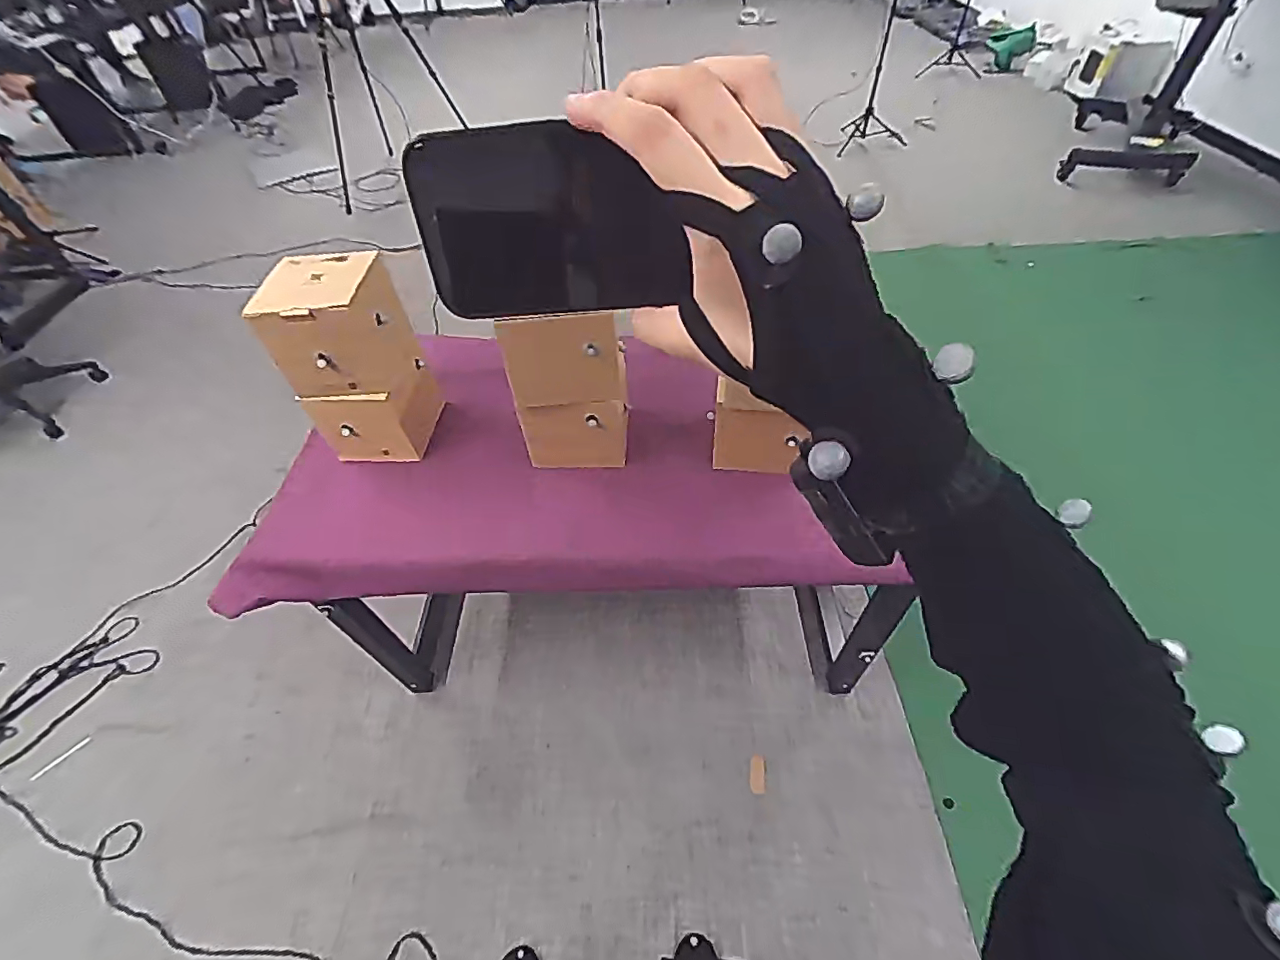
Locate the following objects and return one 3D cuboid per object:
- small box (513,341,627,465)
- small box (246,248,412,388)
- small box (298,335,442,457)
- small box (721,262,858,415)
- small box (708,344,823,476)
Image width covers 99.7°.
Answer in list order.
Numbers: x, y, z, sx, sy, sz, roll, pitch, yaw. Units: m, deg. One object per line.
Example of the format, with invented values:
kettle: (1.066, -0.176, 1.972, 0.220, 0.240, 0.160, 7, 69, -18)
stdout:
small box: (-0.118, -0.140, 1.007, 0.179, 0.176, 0.168, 0, 50, 4)
small box: (-0.514, -0.271, 0.927, 0.168, 0.176, 0.179, -2, 51, 0)
small box: (-0.506, -0.159, 1.048, 0.168, 0.176, 0.179, 1, 50, 4)
small box: (0.221, -0.217, 0.840, 0.179, 0.176, 0.168, 5, 51, 7)
small box: (0.221, -0.124, 0.976, 0.179, 0.176, 0.168, 5, 50, 9)
